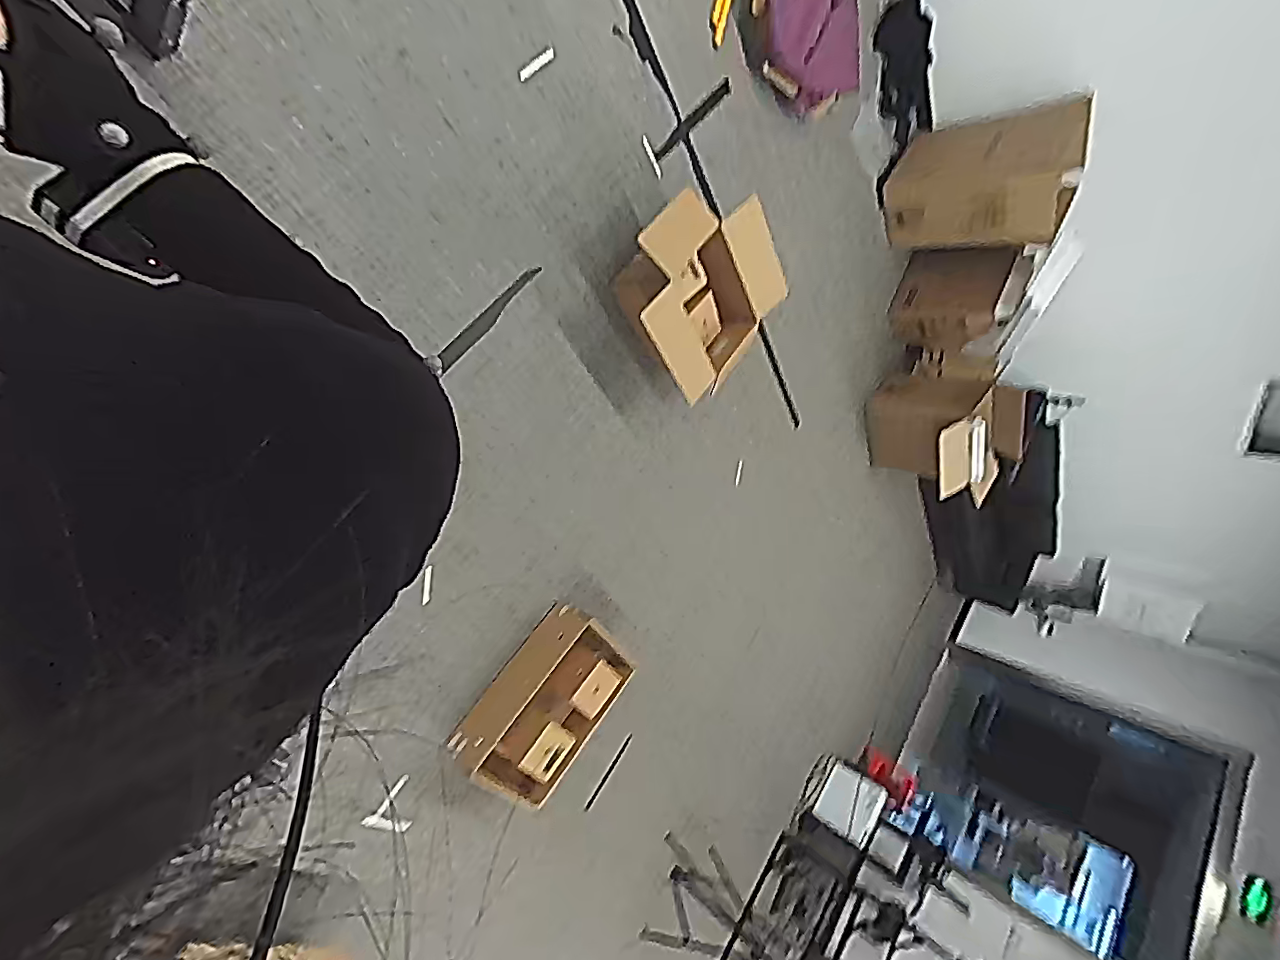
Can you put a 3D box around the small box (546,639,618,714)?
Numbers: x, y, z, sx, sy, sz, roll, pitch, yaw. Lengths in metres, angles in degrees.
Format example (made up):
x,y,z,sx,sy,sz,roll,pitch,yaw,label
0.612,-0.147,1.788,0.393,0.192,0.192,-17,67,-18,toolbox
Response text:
x,y,z,sx,sy,sz,roll,pitch,yaw,label
-0.220,0.734,2.038,0.179,0.176,0.168,-50,130,-21,small box
